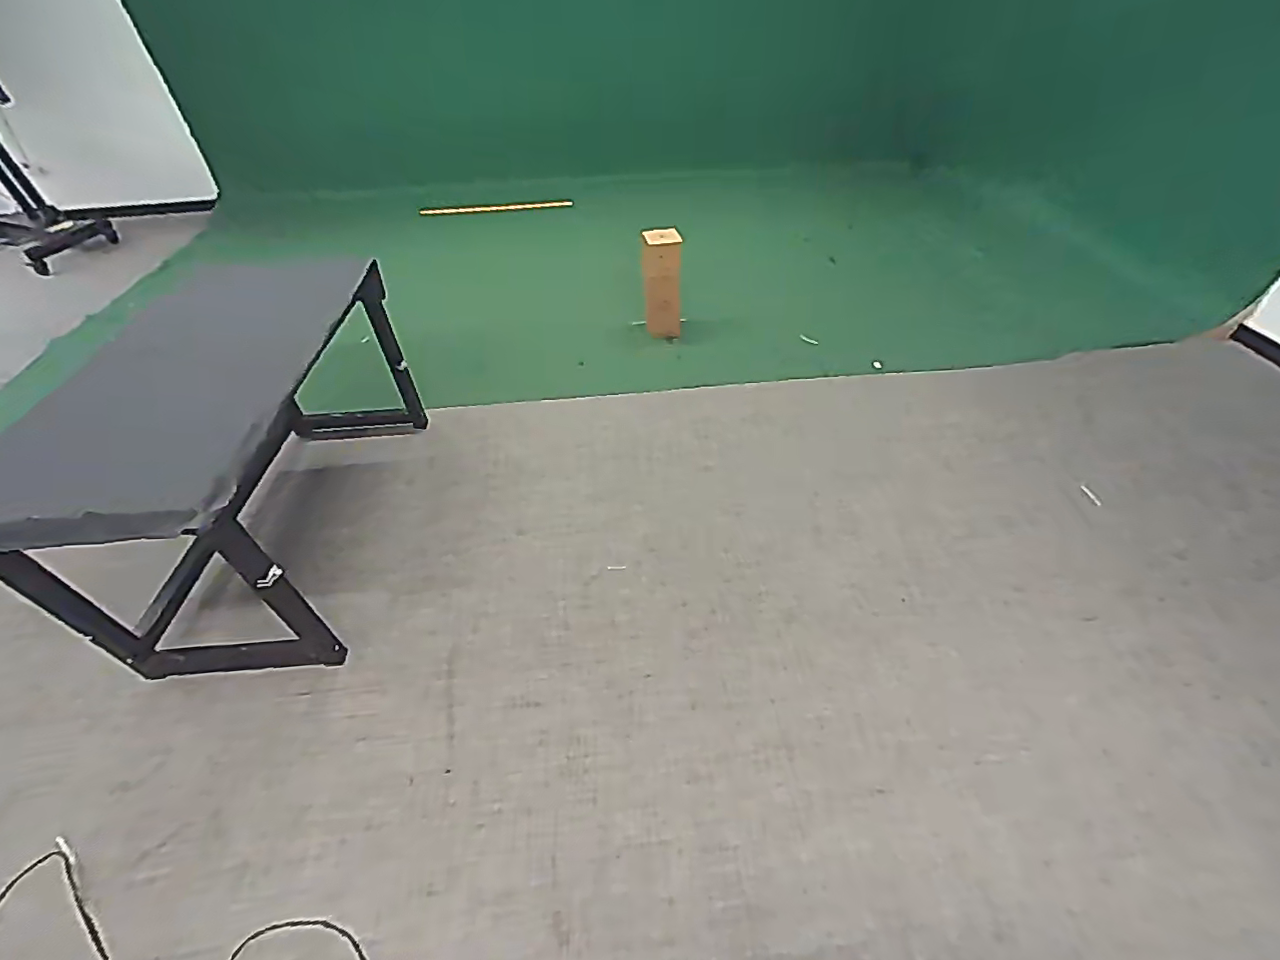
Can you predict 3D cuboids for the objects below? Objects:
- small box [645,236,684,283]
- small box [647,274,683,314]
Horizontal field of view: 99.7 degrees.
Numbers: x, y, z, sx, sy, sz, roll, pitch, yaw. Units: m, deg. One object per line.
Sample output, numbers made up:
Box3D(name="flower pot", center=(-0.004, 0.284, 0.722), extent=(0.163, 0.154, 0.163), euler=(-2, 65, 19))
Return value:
Box3D(name="small box", center=(0.123, -1.094, 2.692), extent=(0.168, 0.176, 0.179), euler=(-9, 43, -6))
Box3D(name="small box", center=(0.127, -0.979, 2.806), extent=(0.168, 0.176, 0.179), euler=(-7, 44, -4))
